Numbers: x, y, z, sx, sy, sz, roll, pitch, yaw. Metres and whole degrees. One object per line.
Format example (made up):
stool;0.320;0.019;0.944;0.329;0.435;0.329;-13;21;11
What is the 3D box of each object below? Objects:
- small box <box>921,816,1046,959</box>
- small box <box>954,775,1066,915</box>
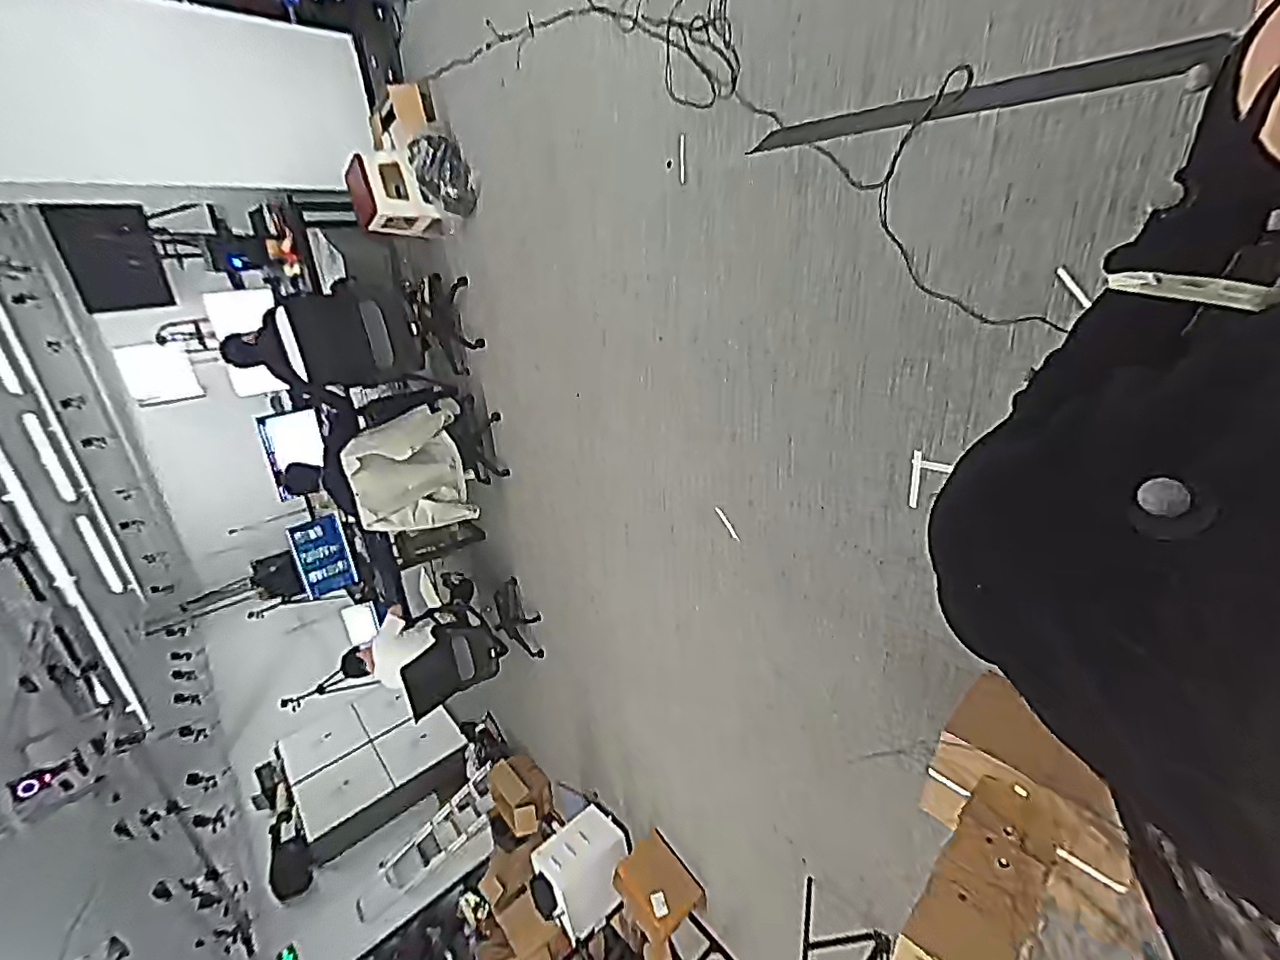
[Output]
small box;0.729;0.874;1.149;0.168;0.176;0.179;21;122;45
small box;0.848;0.833;1.252;0.179;0.176;0.168;21;122;46
